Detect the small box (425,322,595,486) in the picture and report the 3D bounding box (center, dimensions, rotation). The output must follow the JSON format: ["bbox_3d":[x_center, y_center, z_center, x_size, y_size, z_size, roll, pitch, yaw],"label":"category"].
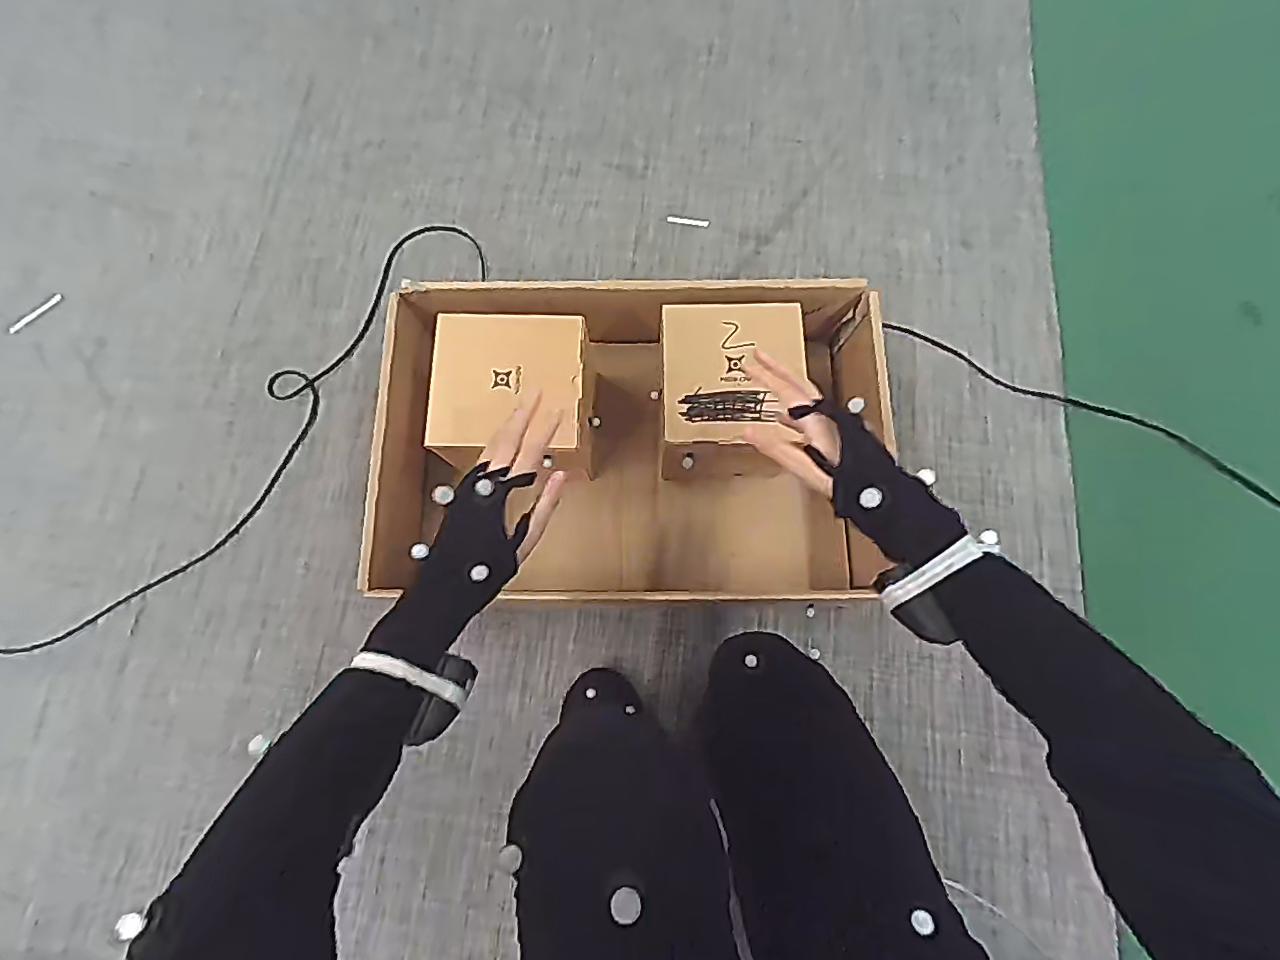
[{"bbox_3d":[-0.155,-0.089,0.703,0.179,0.176,0.168,1,77,-1],"label":"small box"}]
